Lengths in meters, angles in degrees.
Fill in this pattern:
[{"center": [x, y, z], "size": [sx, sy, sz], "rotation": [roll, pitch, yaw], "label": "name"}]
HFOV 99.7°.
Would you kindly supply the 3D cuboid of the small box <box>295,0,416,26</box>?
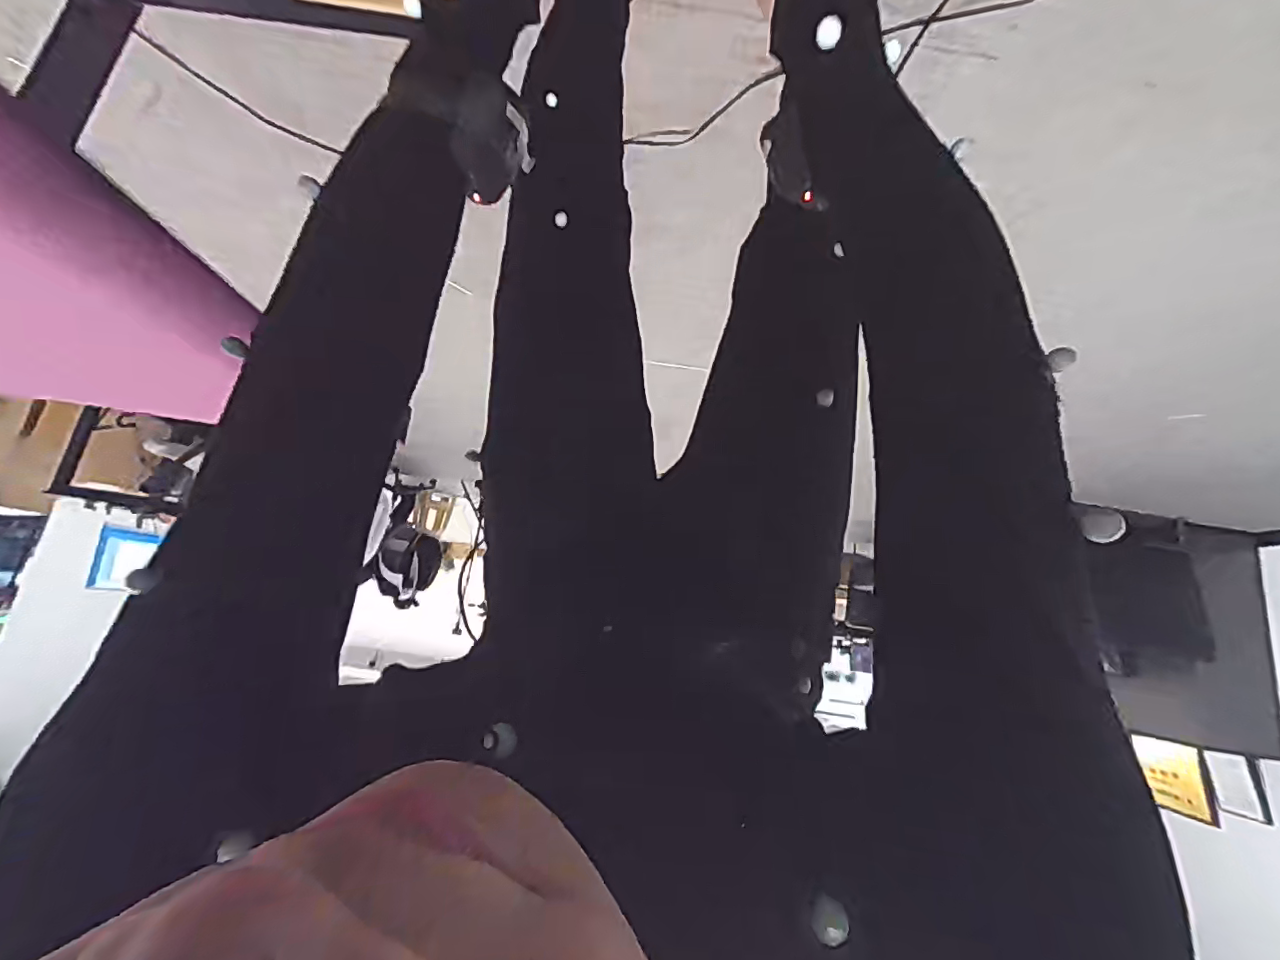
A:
[{"center": [-0.368, -0.725, 0.668], "size": [0.168, 0.176, 0.179], "rotation": [9, 166, 1], "label": "small box"}]
